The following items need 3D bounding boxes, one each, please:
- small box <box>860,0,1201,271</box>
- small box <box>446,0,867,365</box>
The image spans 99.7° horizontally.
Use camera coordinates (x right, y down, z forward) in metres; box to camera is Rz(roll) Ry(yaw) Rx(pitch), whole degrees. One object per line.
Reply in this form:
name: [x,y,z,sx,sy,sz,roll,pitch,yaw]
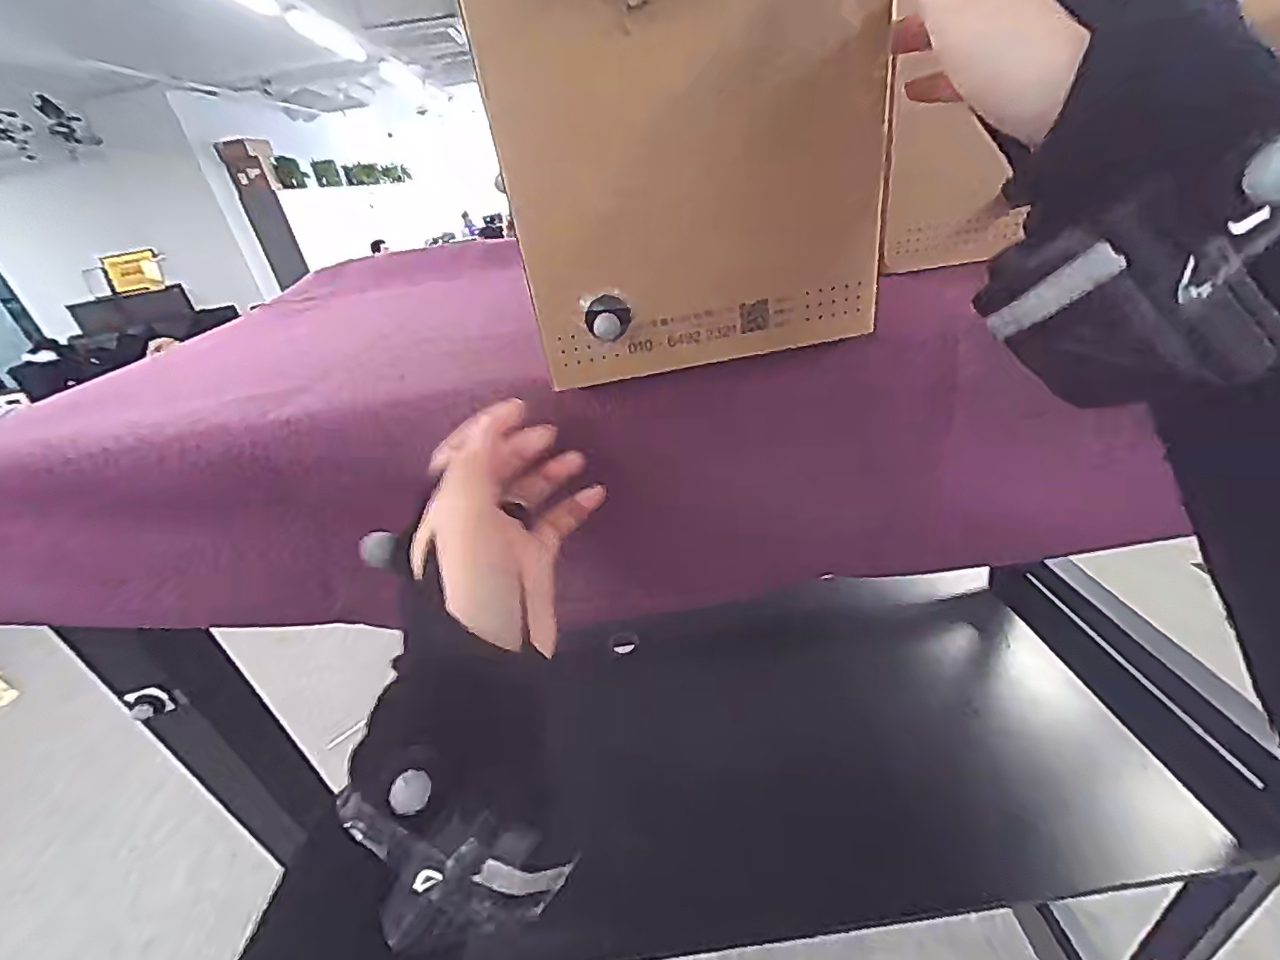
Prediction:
small box: [0.229,-0.259,0.387,0.179,0.176,0.168,-7,29,3]
small box: [0.013,-0.171,0.299,0.168,0.176,0.179,-11,29,-1]
